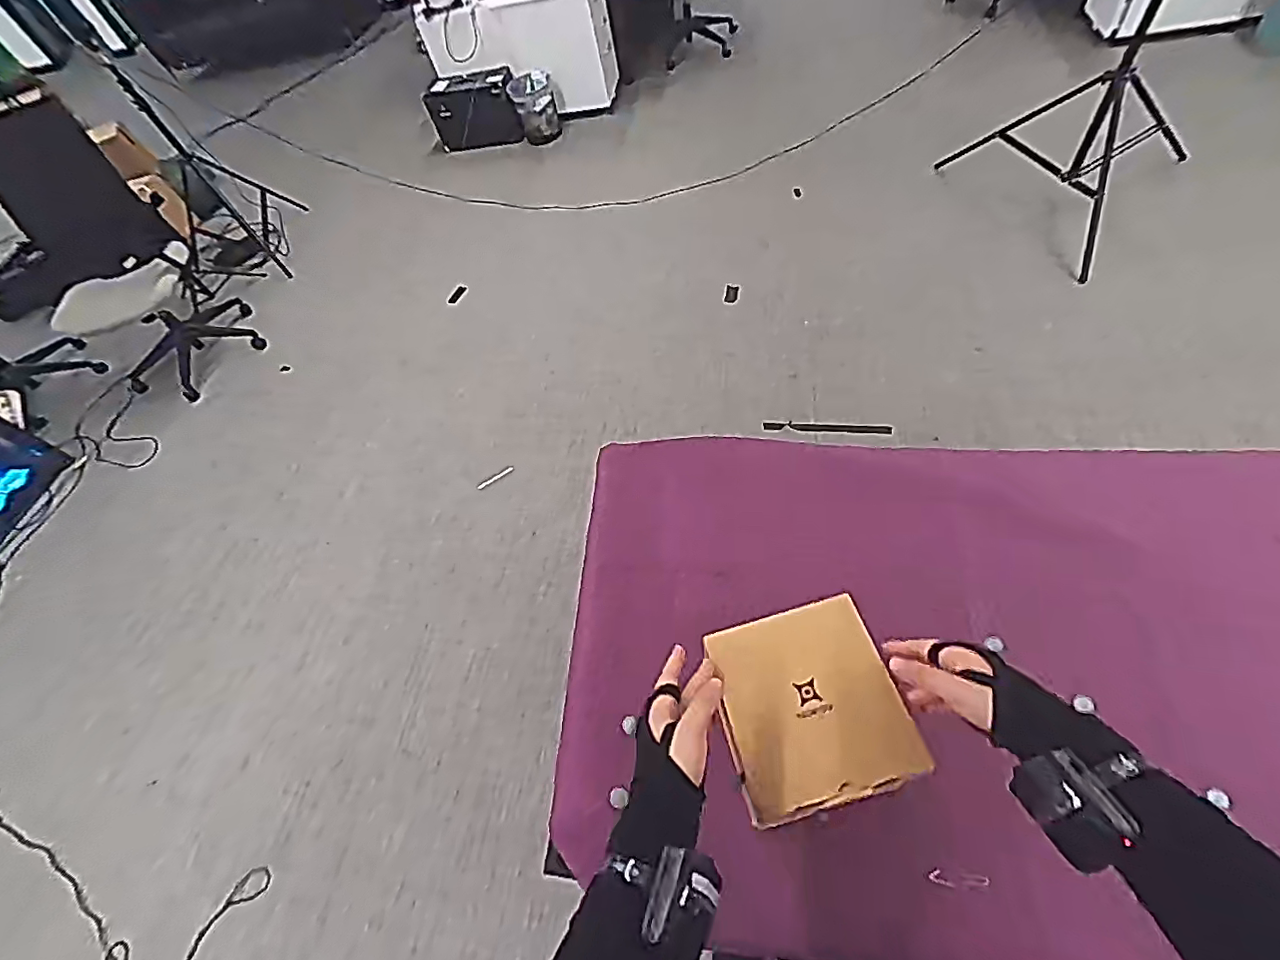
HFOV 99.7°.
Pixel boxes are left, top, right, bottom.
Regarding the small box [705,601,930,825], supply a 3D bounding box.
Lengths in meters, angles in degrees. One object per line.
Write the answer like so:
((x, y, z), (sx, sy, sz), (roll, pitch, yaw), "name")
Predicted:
((0.173, 0.260, 0.592), (0.168, 0.176, 0.179), (-15, 56, 0), "small box")
